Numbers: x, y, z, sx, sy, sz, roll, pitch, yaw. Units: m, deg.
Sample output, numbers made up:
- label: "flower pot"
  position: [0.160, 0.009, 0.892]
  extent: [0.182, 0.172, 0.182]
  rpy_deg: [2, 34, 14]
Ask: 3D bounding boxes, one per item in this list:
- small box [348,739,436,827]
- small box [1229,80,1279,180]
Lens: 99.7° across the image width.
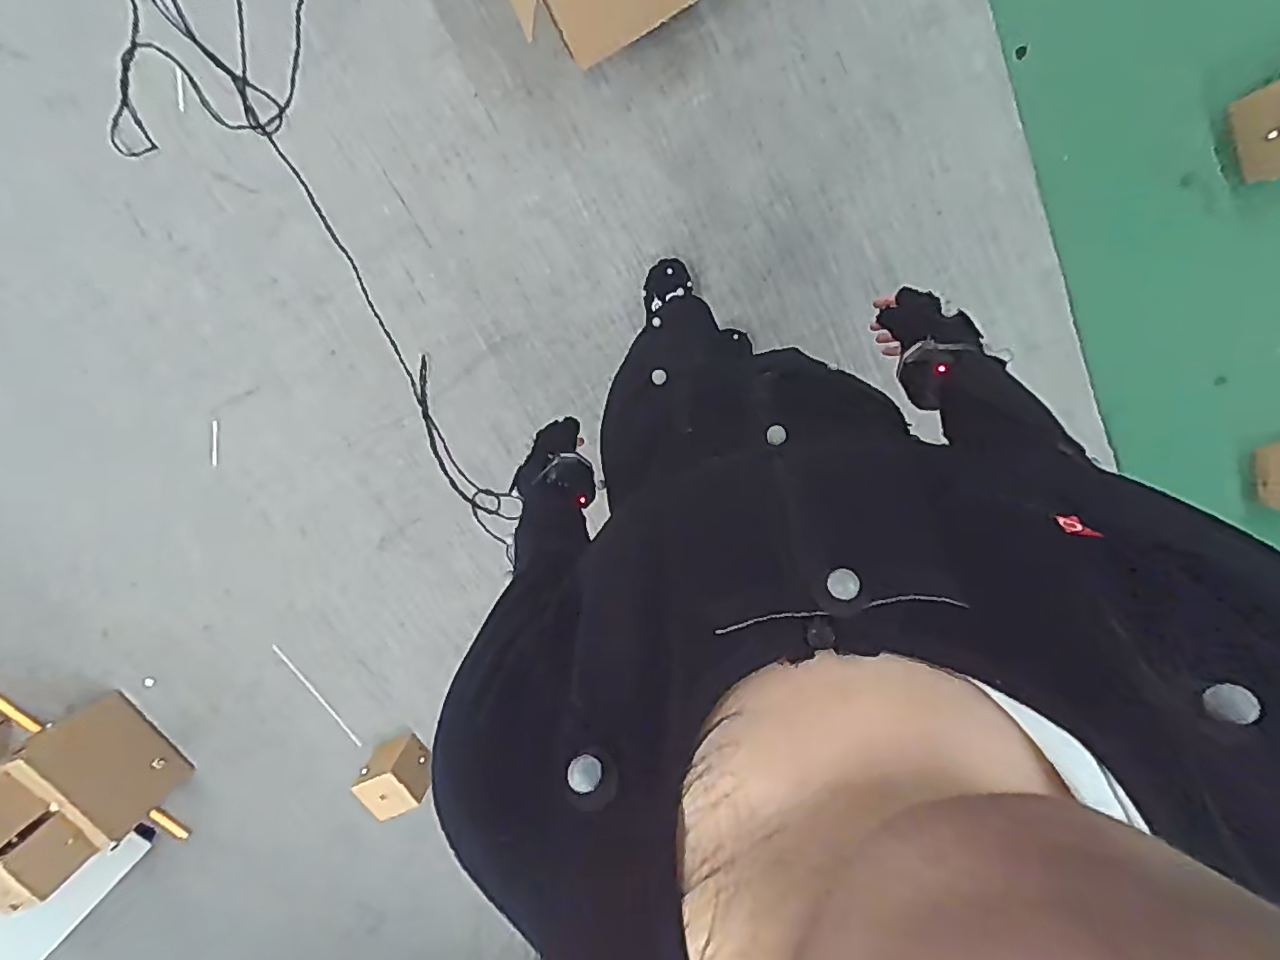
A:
- label: "small box"
  position: [-0.834, 1.024, 1.837]
  extent: [0.179, 0.176, 0.168]
  rpy_deg: [-27, 105, 12]
- label: "small box"
  position: [1.365, -0.734, 1.087]
  extent: [0.168, 0.176, 0.179]
  rpy_deg: [-28, 103, 12]
